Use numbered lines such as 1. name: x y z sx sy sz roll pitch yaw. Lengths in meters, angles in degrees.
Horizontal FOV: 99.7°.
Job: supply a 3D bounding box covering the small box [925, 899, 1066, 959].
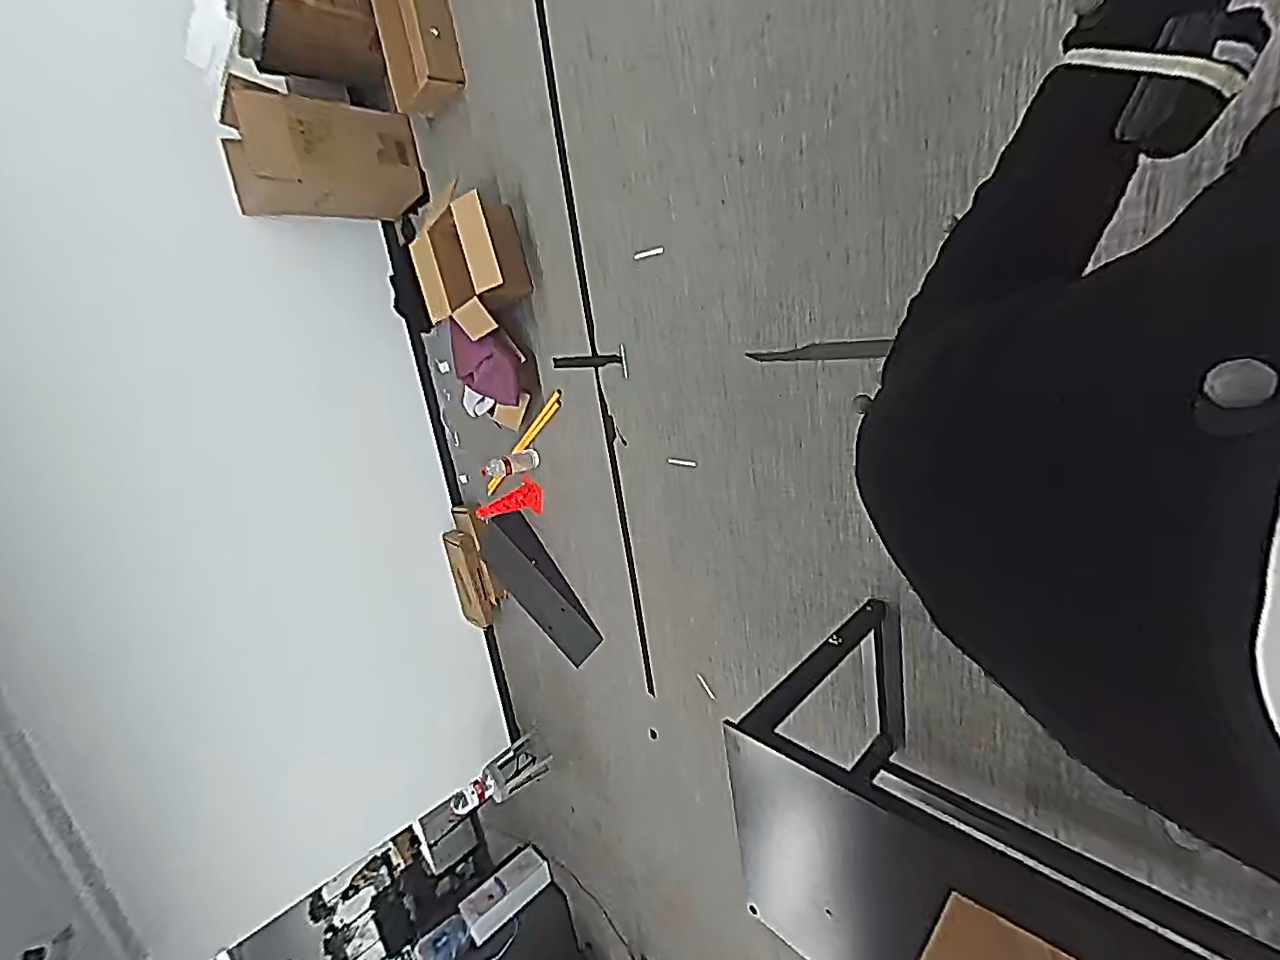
1. small box: 0.550 0.810 0.833 0.179 0.176 0.168 3 109 48
